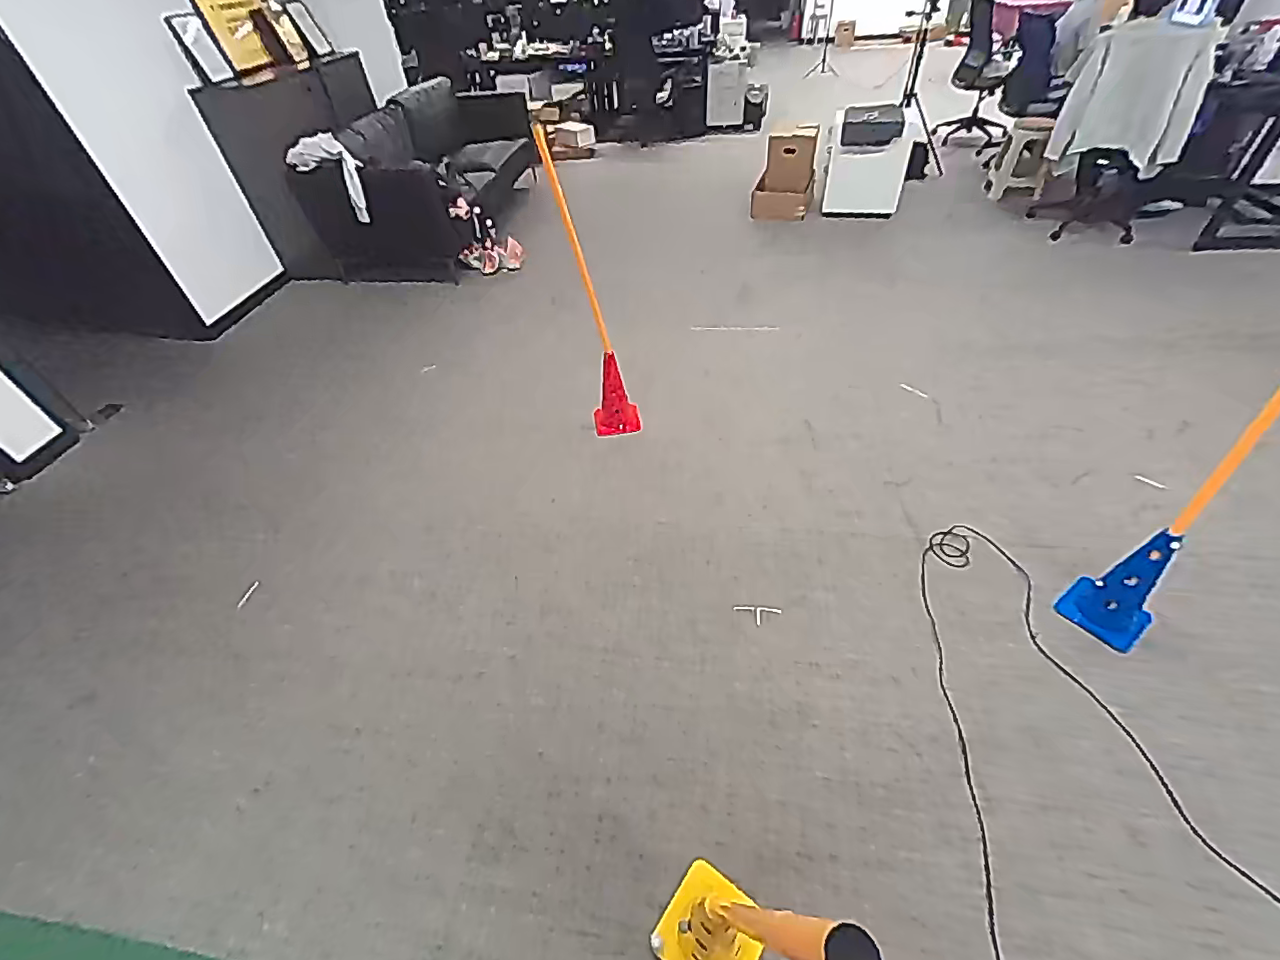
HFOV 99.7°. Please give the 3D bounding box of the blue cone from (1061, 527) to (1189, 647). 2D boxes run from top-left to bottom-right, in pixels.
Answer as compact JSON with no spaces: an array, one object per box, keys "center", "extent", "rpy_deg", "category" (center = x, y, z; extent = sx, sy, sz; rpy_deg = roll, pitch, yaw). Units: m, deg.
[{"center":[1.376,0.267,1.503],"extent":[0.193,0.380,0.192],"rpy_deg":[-28,48,-25],"category":"blue cone"}]
